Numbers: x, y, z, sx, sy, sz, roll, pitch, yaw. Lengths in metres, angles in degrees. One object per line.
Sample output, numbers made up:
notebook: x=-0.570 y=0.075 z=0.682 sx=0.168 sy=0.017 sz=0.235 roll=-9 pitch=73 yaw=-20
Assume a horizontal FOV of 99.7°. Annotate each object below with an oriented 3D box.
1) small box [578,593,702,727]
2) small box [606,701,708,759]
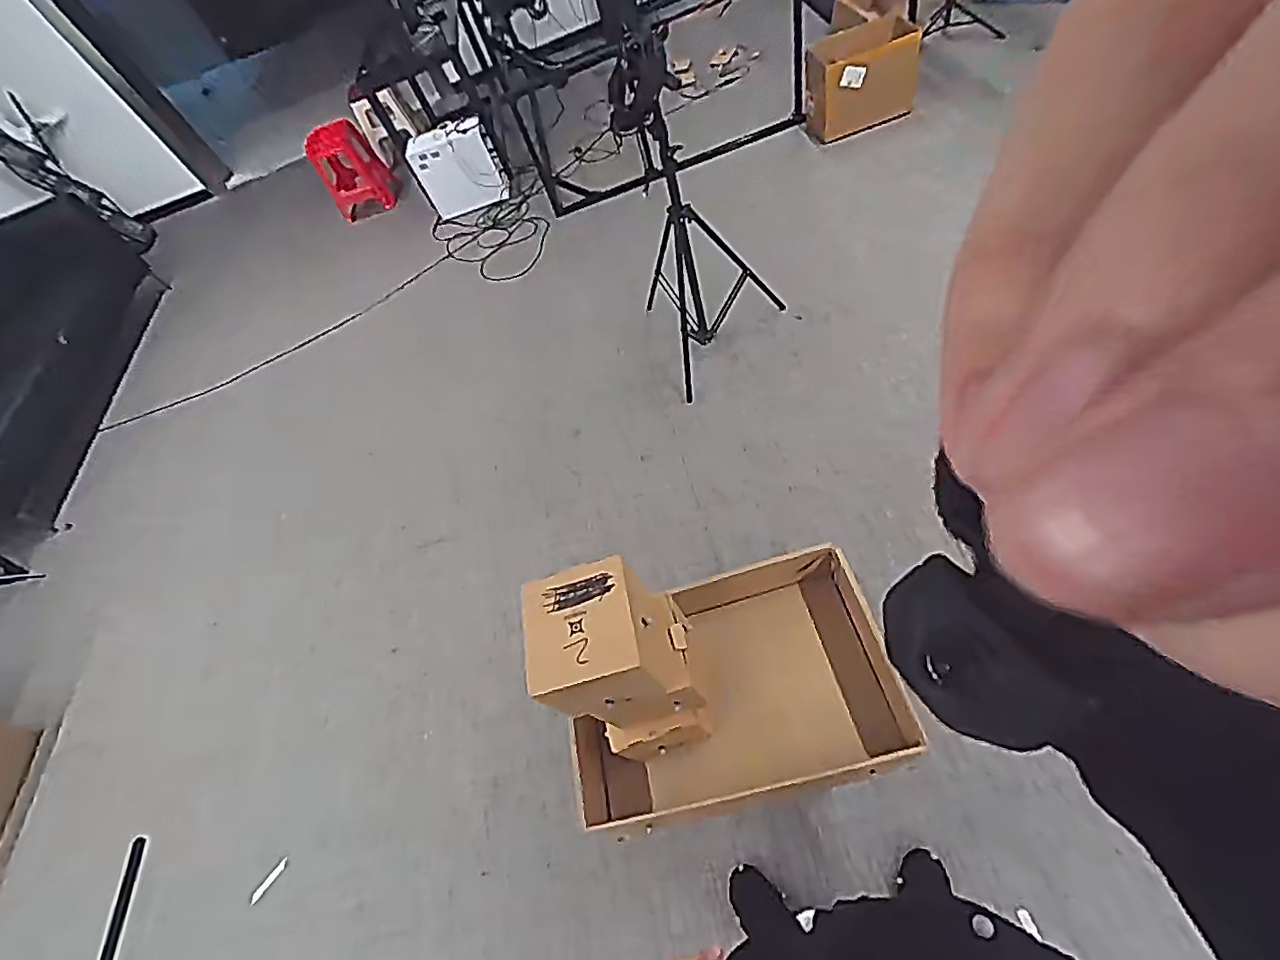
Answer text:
small box: x=0.006 y=0.326 z=0.965 sx=0.179 sy=0.176 sz=0.168 roll=-18 pitch=54 yaw=6
small box: x=0.024 y=0.438 z=1.088 sx=0.168 sy=0.176 sz=0.179 roll=-22 pitch=55 yaw=4
